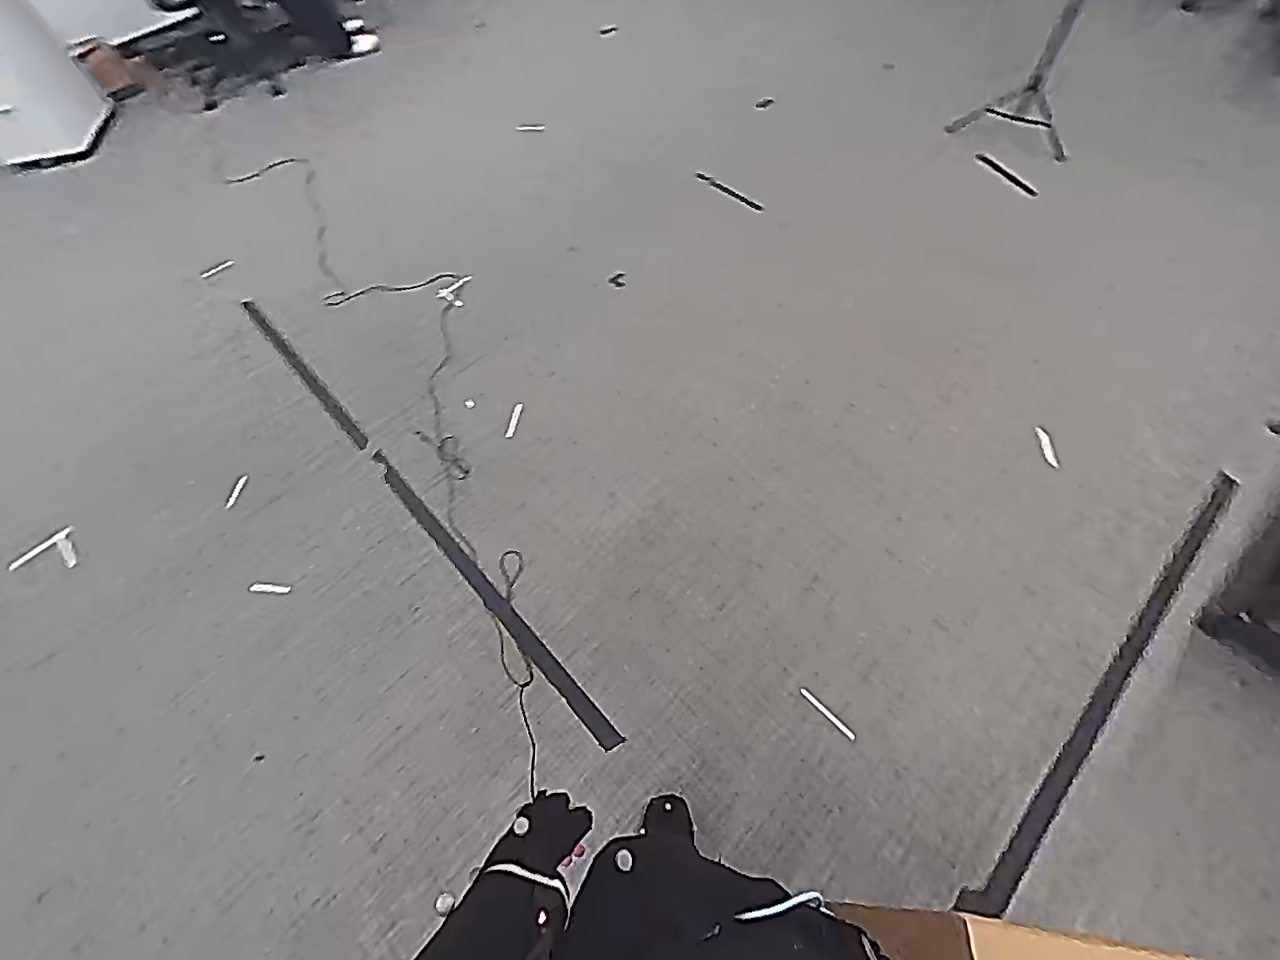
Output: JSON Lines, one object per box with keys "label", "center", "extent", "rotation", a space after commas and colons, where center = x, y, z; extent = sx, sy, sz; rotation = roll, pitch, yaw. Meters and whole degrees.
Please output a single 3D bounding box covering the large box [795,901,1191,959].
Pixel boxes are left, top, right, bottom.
{"label": "large box", "center": [0.429, 0.732, 0.662], "extent": [0.320, 0.408, 0.320], "rotation": [13, 52, -6]}
